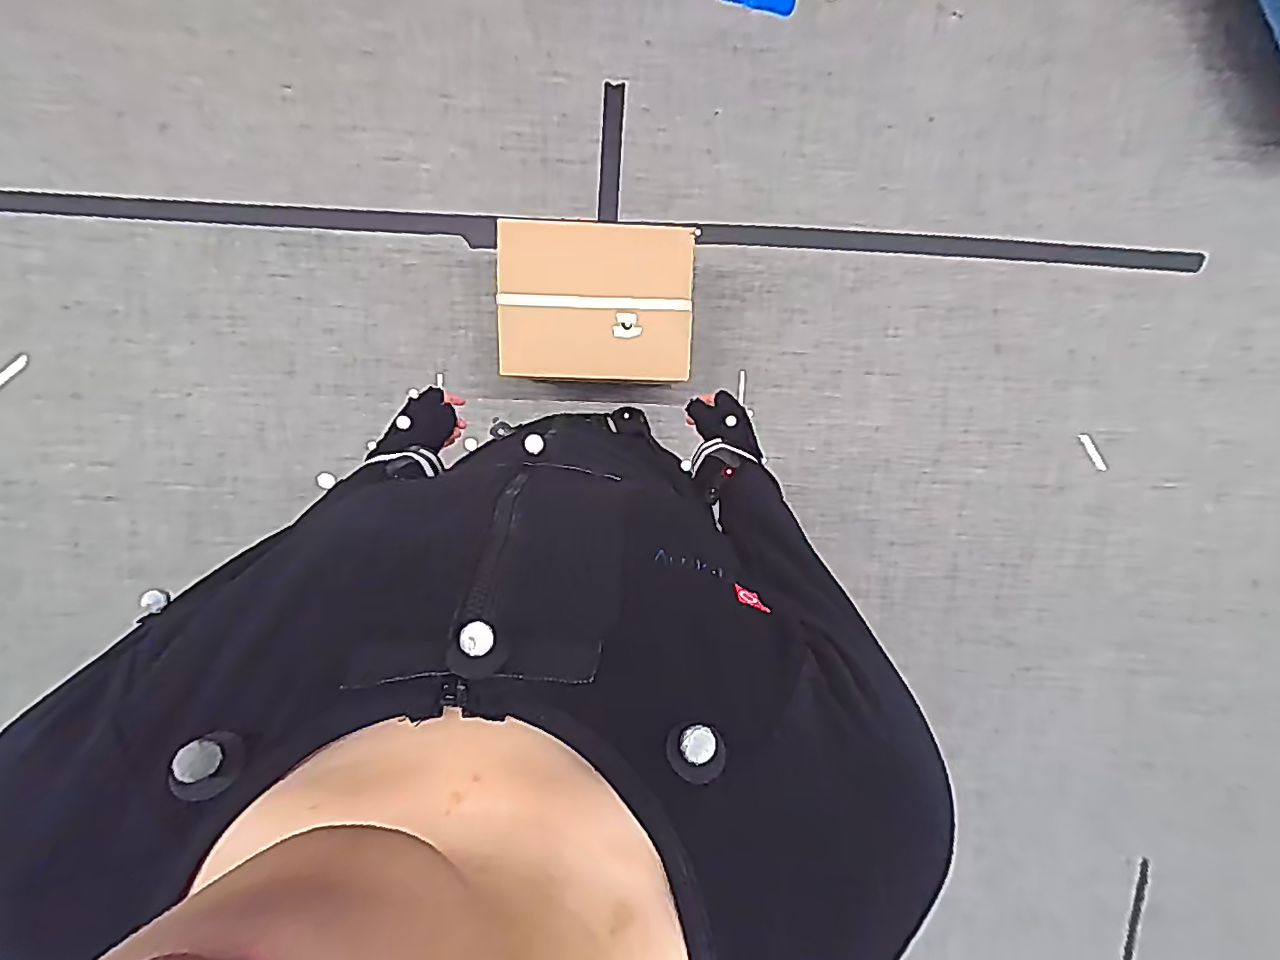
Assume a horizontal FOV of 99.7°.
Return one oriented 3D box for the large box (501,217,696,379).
[{"bbox_3d":[-0.094,-0.400,1.270,0.408,0.320,0.320,1,99,-4],"label":"large box"}]
